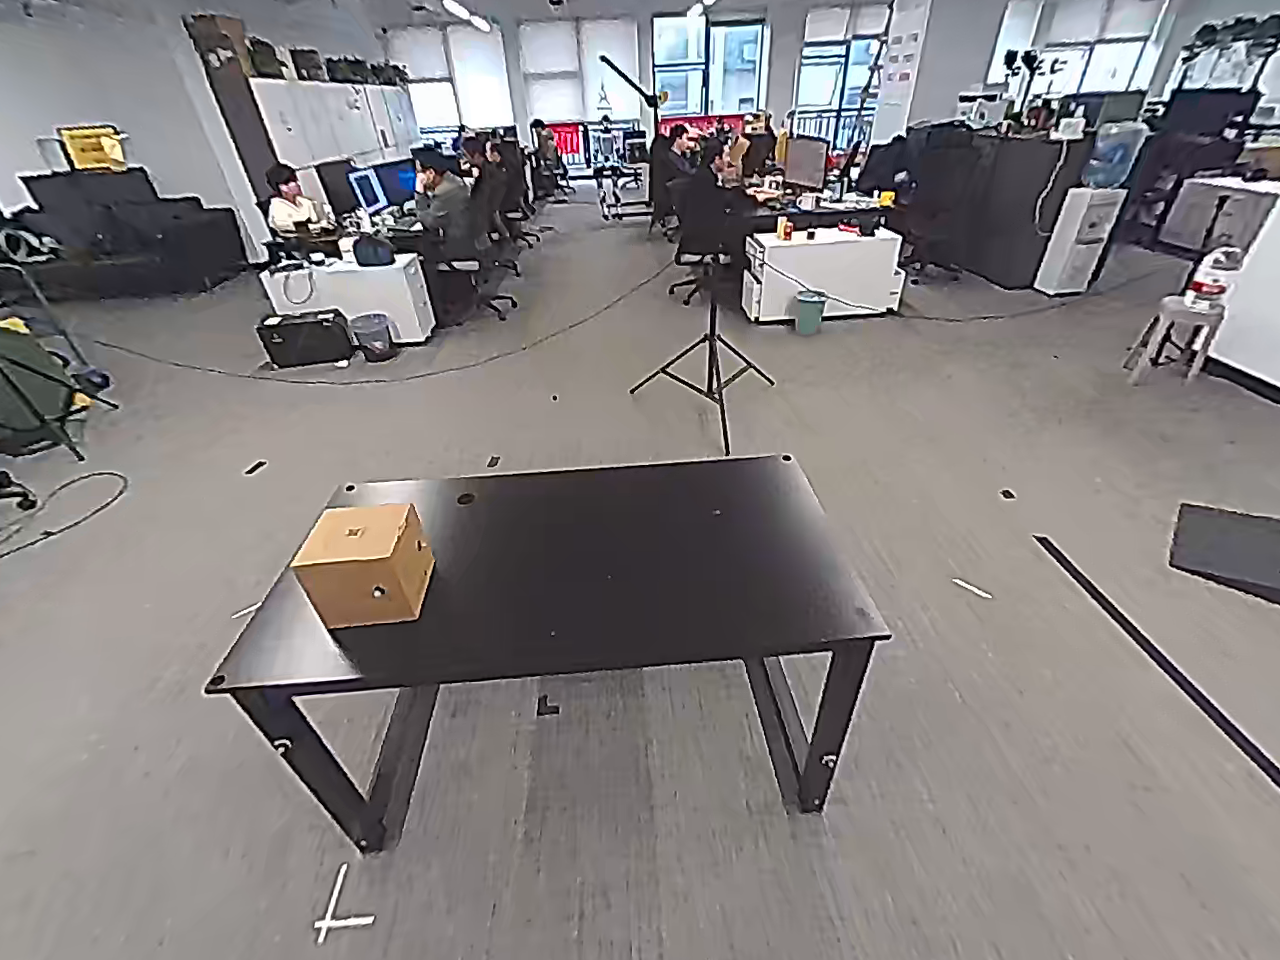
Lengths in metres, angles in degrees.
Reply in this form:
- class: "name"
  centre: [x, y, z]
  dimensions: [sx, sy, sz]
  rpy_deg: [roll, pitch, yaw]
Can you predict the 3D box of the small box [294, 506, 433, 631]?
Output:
- class: "small box"
  centre: [-0.524, 0.172, 1.058]
  dimensions: [0.179, 0.176, 0.168]
  rpy_deg: [-6, 34, -3]
